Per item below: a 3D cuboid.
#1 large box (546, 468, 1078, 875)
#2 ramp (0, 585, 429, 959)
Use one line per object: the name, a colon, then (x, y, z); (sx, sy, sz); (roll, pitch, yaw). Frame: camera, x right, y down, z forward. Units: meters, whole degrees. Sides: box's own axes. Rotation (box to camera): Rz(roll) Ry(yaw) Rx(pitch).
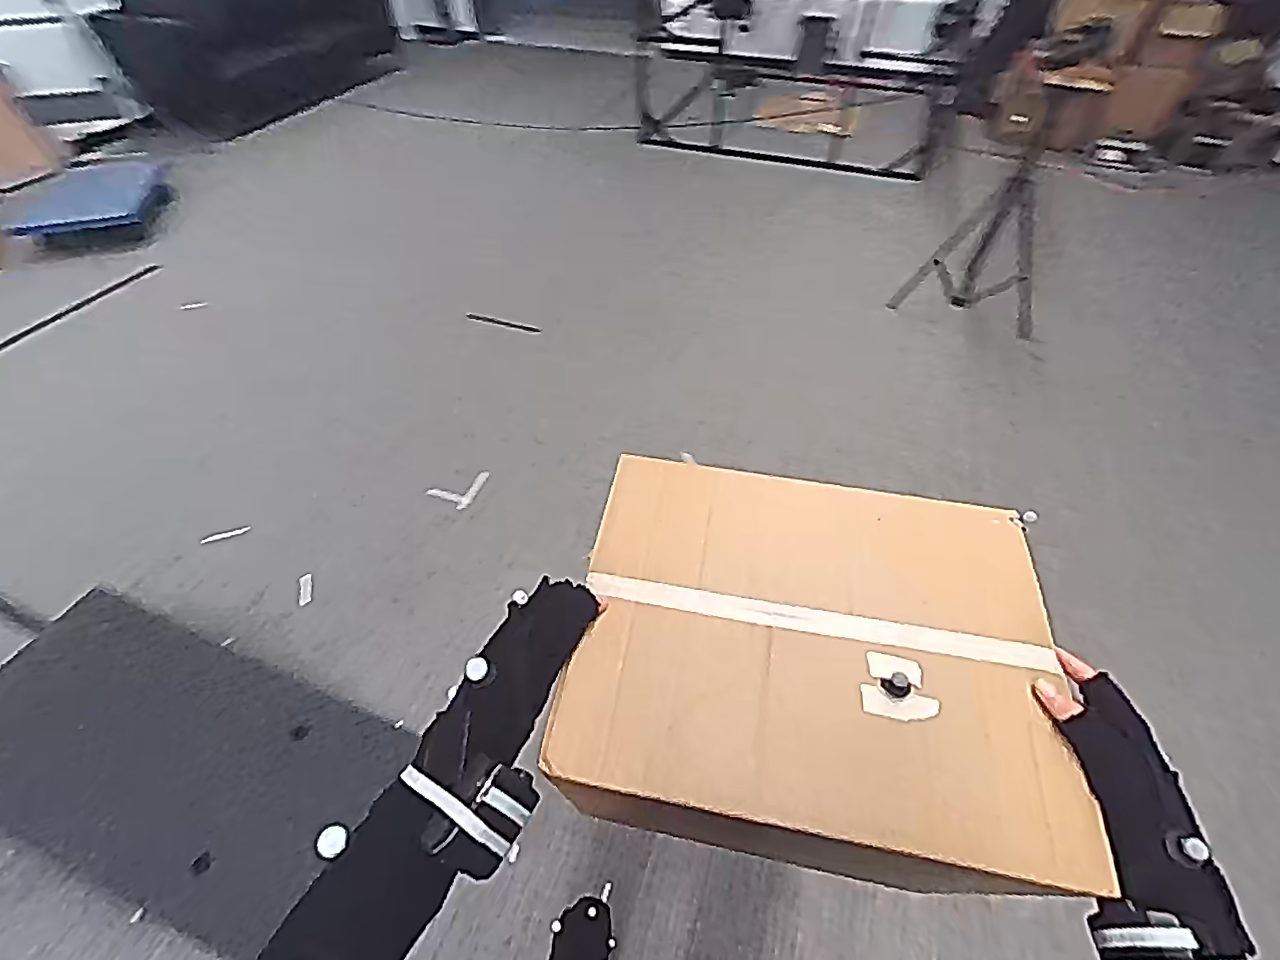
large box: (0.141, 0.219, 0.610); (0.408, 0.320, 0.320); (8, 54, 6)
ramp: (-1.072, 0.644, 1.287); (0.991, 0.206, 0.509); (15, 50, 12)
